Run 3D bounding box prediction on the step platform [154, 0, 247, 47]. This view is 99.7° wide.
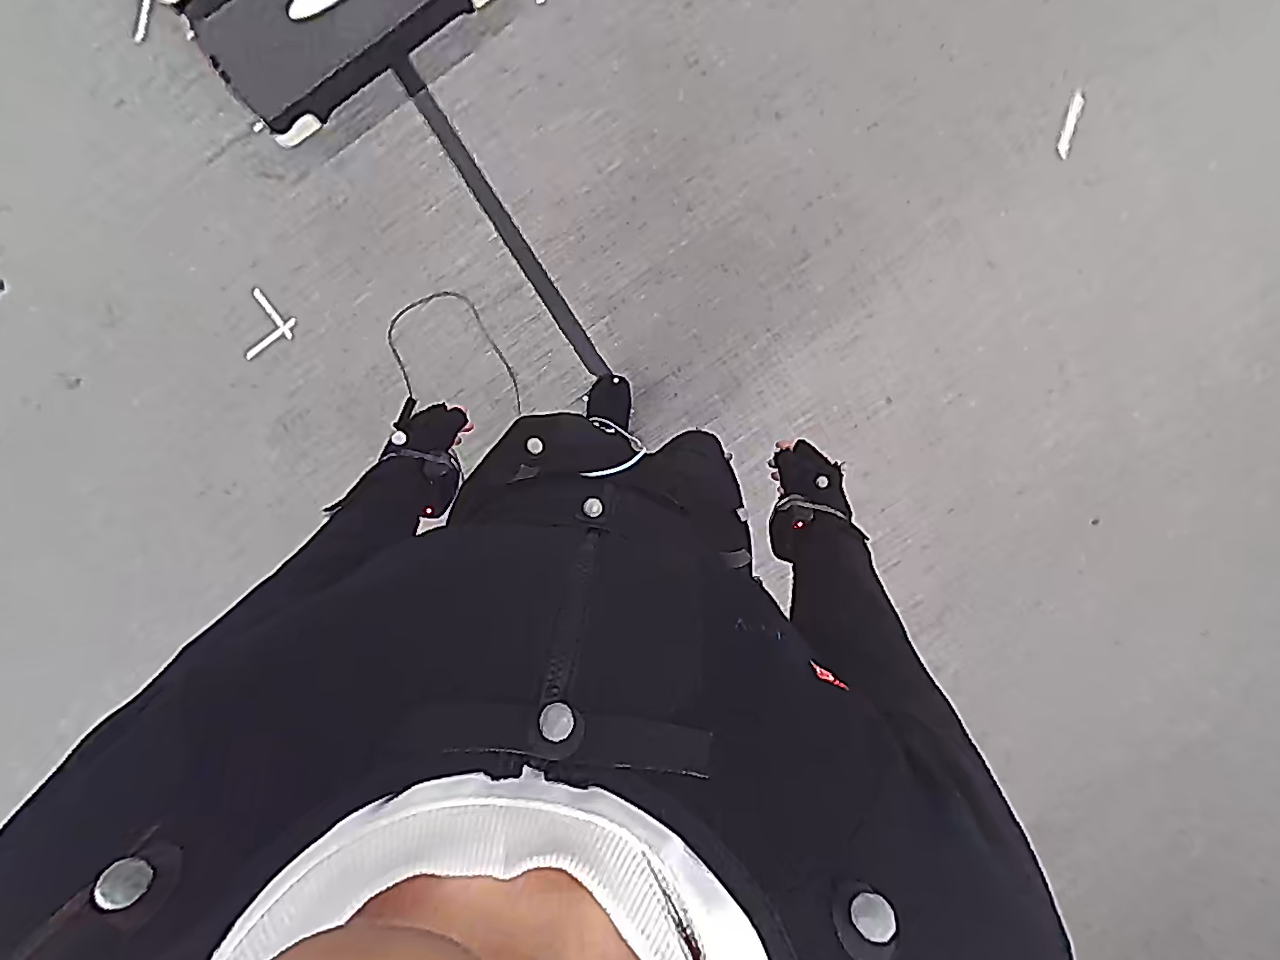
[{"bbox_3d":[-0.792,-1.264,1.116,0.684,0.204,0.286,-35,99,3],"label":"step platform"}]
